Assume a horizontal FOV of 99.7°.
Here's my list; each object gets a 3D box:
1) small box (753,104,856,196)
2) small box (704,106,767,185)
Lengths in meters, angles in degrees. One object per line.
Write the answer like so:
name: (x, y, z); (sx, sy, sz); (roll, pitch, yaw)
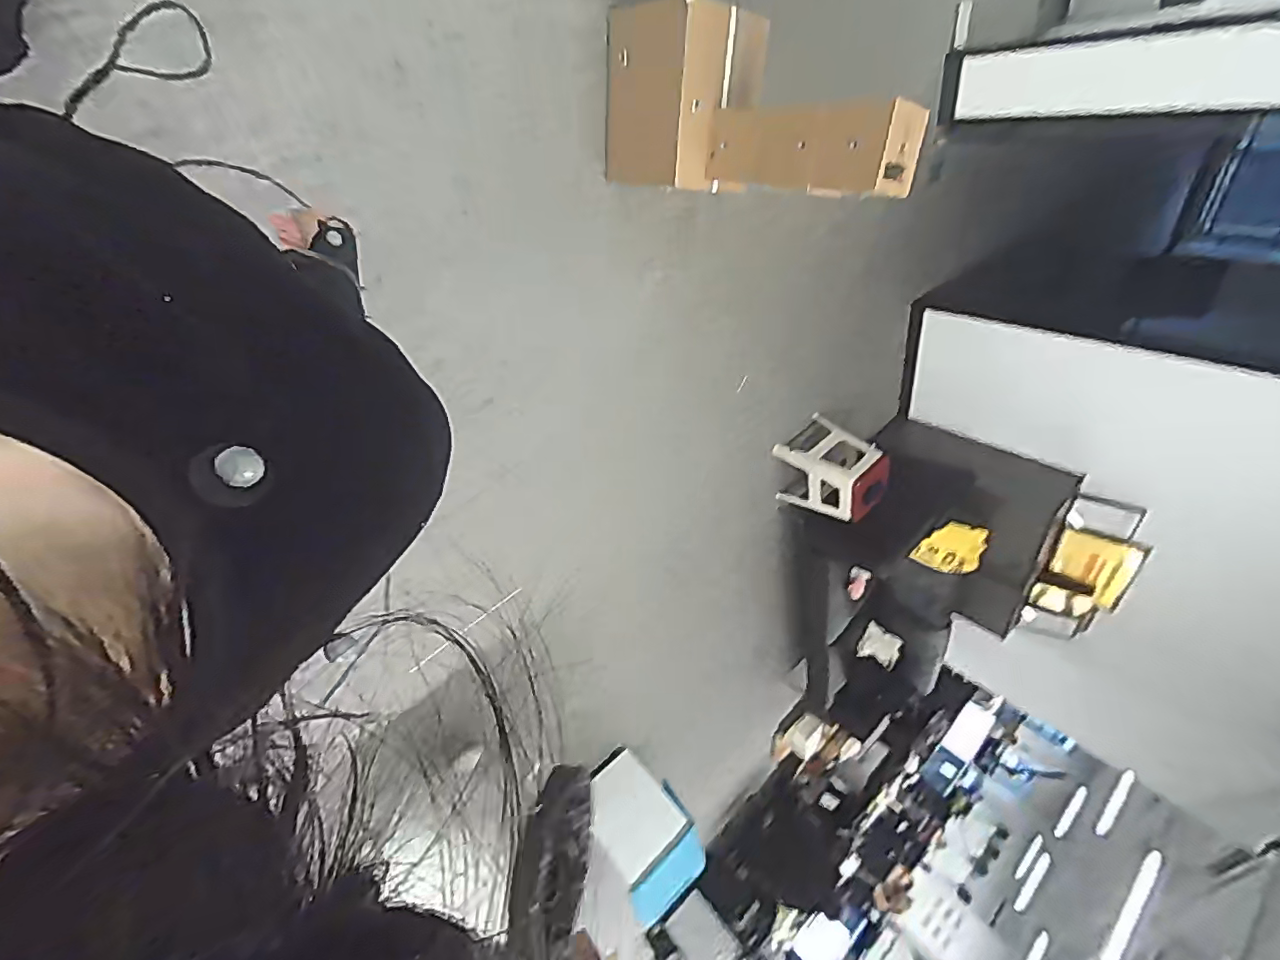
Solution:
small box: (0.403, -0.817, 1.348); (0.168, 0.176, 0.179); (-19, 125, -38)
small box: (0.297, -0.889, 1.447); (0.179, 0.176, 0.168); (-20, 126, -37)
